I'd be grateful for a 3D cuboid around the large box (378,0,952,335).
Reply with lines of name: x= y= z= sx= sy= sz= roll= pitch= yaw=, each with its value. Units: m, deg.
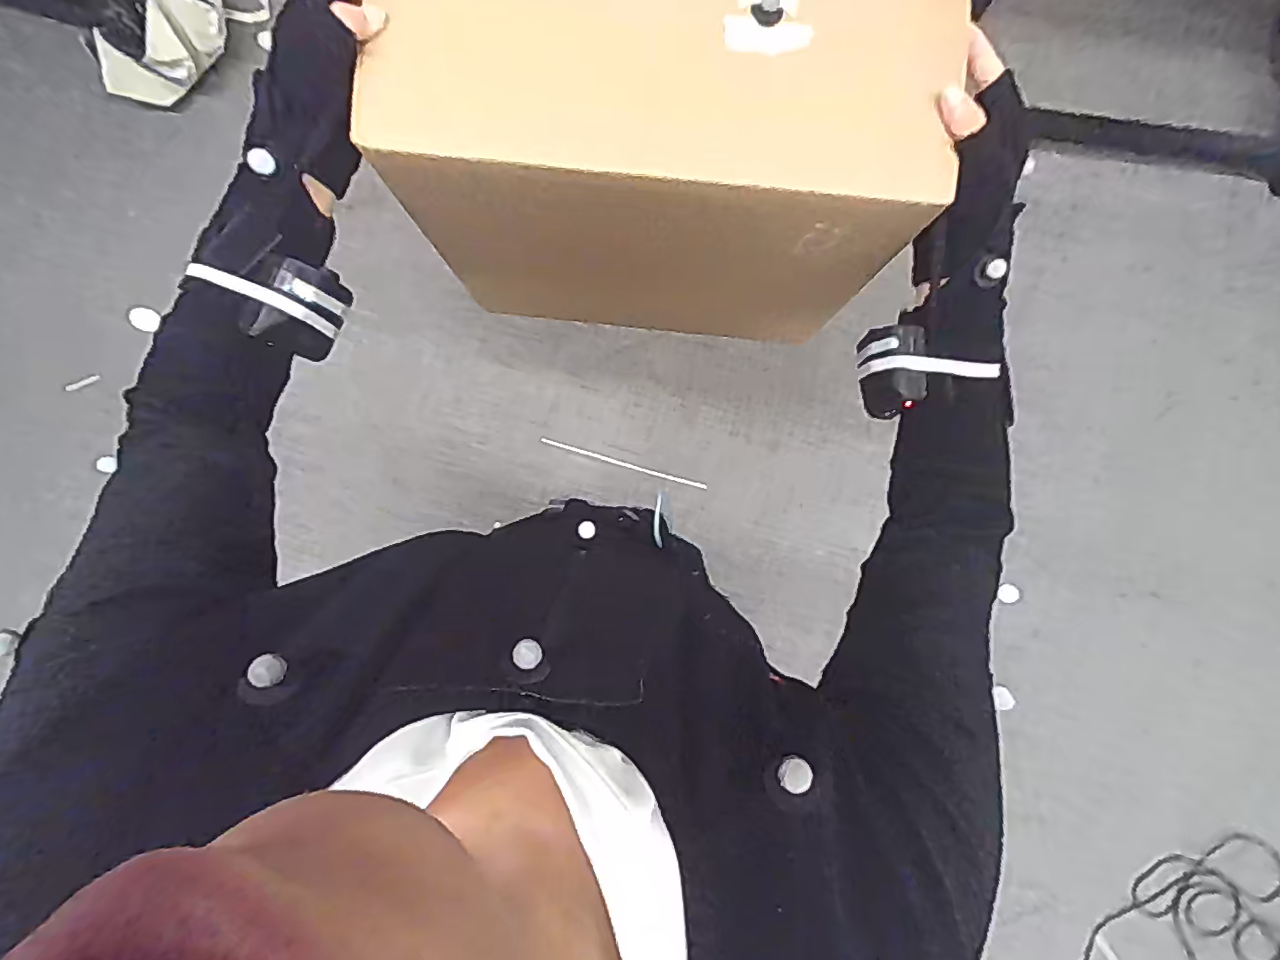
large box: x=0.020 y=-0.352 z=0.532 sx=0.408 sy=0.320 sz=0.320 roll=5 pitch=87 yaw=-2
